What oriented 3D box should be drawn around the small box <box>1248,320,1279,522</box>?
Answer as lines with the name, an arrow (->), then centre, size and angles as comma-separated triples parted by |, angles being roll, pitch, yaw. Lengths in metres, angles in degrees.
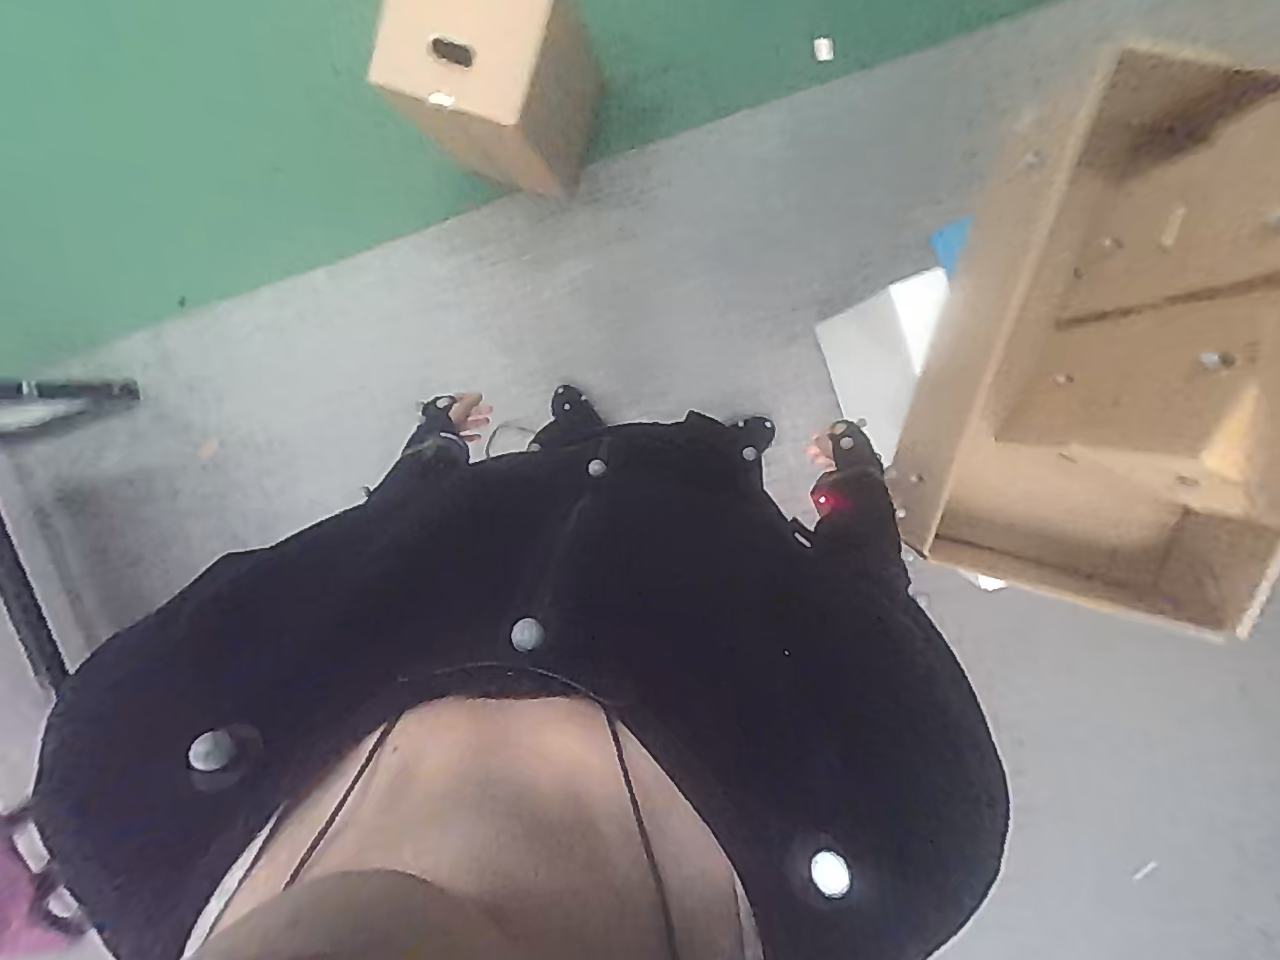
small box -> 0.580, -0.043, 0.360 | 0.168, 0.176, 0.179 | 1, 96, 6
